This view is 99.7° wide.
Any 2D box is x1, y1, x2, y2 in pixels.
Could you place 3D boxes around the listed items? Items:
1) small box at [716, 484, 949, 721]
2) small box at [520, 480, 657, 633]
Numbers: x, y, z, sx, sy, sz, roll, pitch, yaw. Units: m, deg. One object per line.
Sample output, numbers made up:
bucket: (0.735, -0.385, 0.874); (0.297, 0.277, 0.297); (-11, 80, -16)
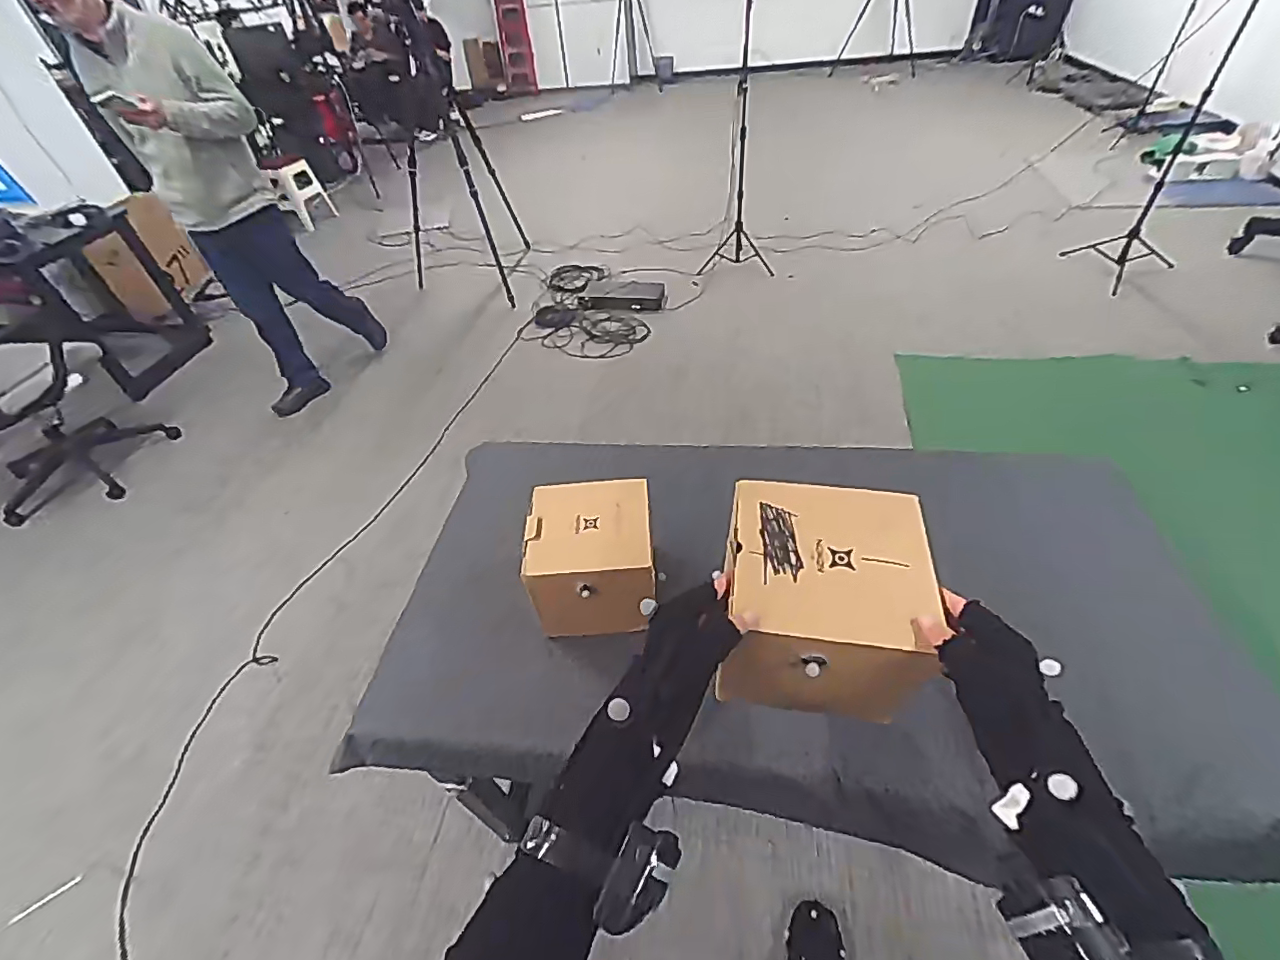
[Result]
small box: (0.173, 0.126, 0.545); (0.179, 0.176, 0.168); (6, 49, 6)
small box: (-0.068, 0.120, 0.824); (0.179, 0.176, 0.168); (-4, 46, 2)
